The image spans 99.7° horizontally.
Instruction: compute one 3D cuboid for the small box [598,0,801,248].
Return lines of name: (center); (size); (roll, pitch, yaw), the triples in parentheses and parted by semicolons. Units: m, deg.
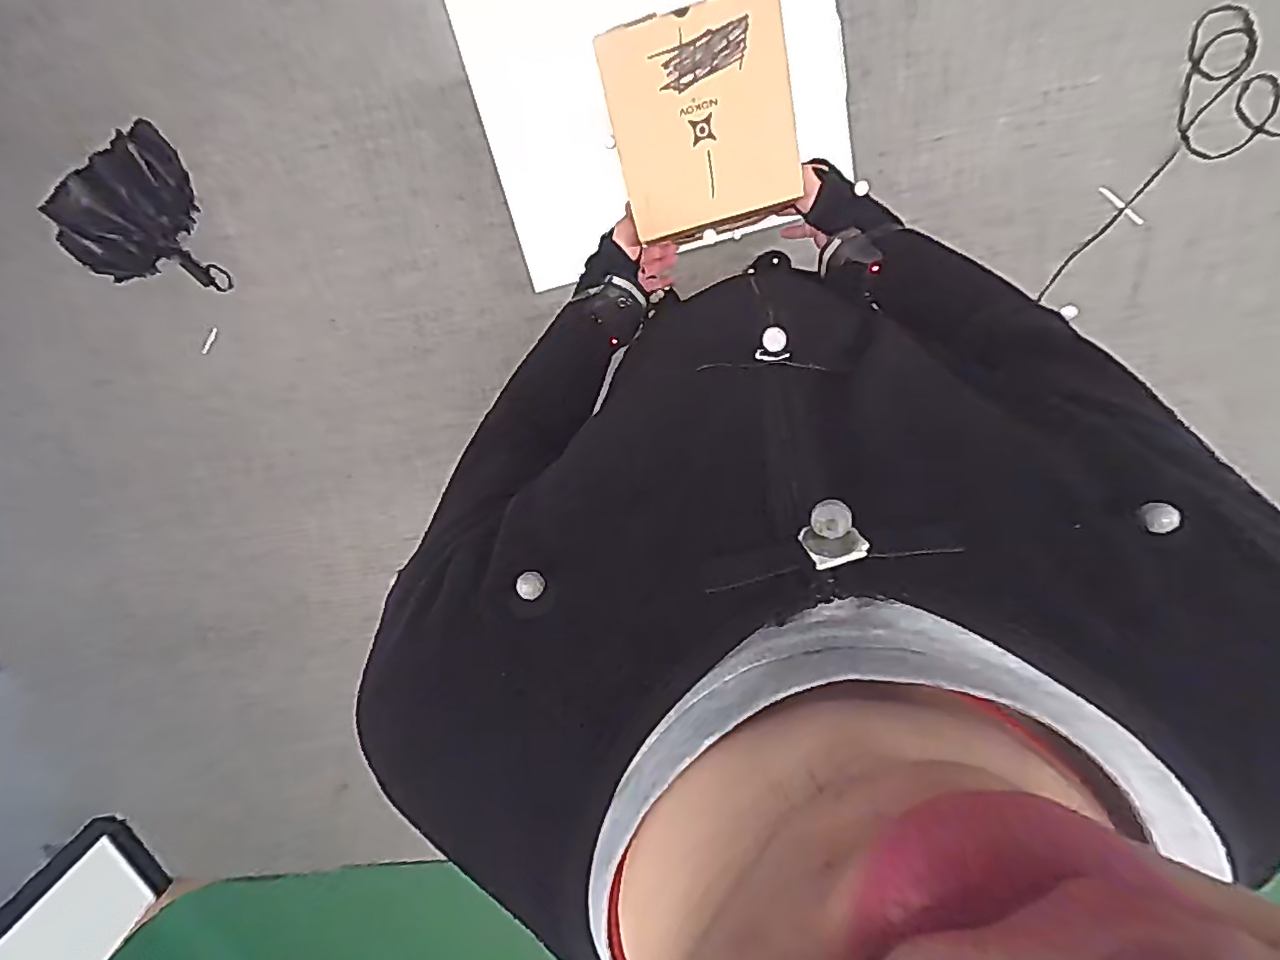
small box: (0.063, -0.359, 0.577); (0.168, 0.176, 0.179); (-11, 111, 9)
